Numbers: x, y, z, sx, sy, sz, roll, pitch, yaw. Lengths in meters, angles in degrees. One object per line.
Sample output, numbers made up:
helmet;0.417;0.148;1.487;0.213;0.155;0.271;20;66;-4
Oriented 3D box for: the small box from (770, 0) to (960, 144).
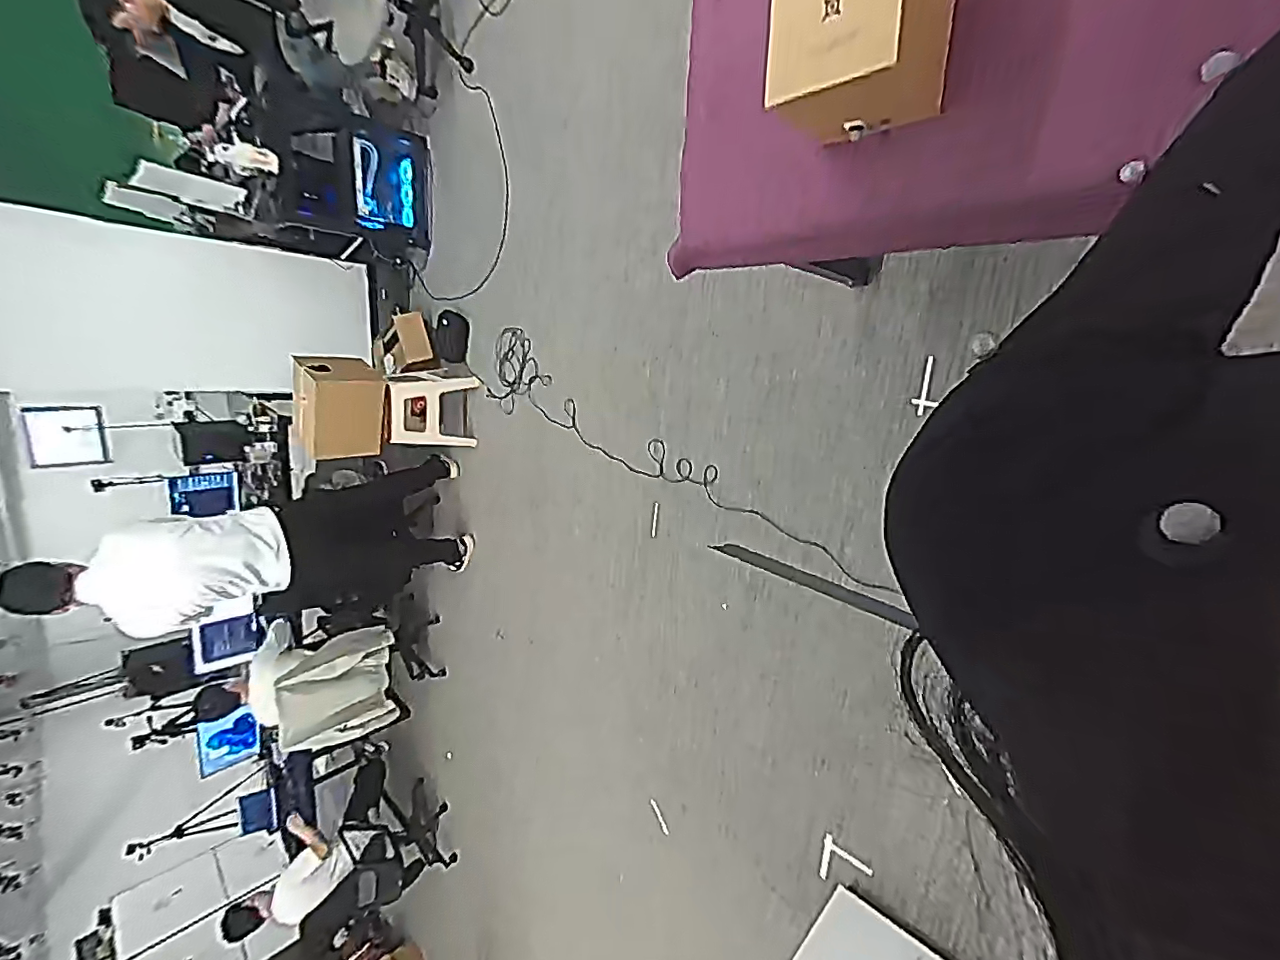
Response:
small box;0.282;-0.557;0.674;0.168;0.176;0.179;12;106;44
